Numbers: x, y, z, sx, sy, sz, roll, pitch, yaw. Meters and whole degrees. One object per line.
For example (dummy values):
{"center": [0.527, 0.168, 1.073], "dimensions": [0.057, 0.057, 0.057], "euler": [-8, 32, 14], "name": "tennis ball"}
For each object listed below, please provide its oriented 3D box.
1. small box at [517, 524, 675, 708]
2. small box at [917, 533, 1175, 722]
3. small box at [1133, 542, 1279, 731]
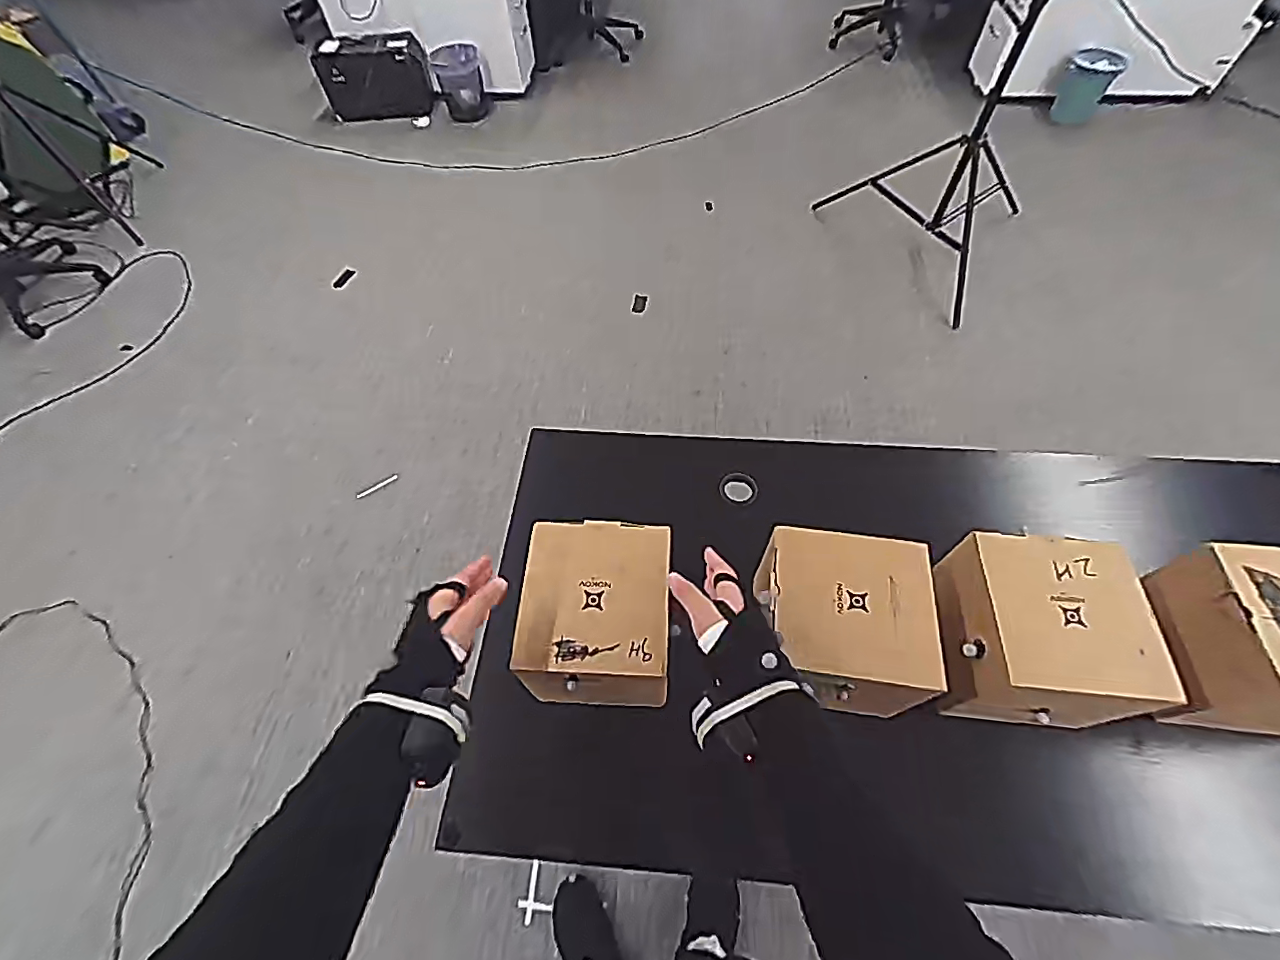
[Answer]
{"center": [-0.043, 0.173, 0.680], "dimensions": [0.168, 0.176, 0.179], "euler": [2, 57, 4], "name": "small box"}
{"center": [0.461, 0.184, 0.653], "dimensions": [0.168, 0.176, 0.179], "euler": [4, 57, 4], "name": "small box"}
{"center": [0.722, 0.189, 0.638], "dimensions": [0.179, 0.176, 0.168], "euler": [5, 58, 5], "name": "small box"}
